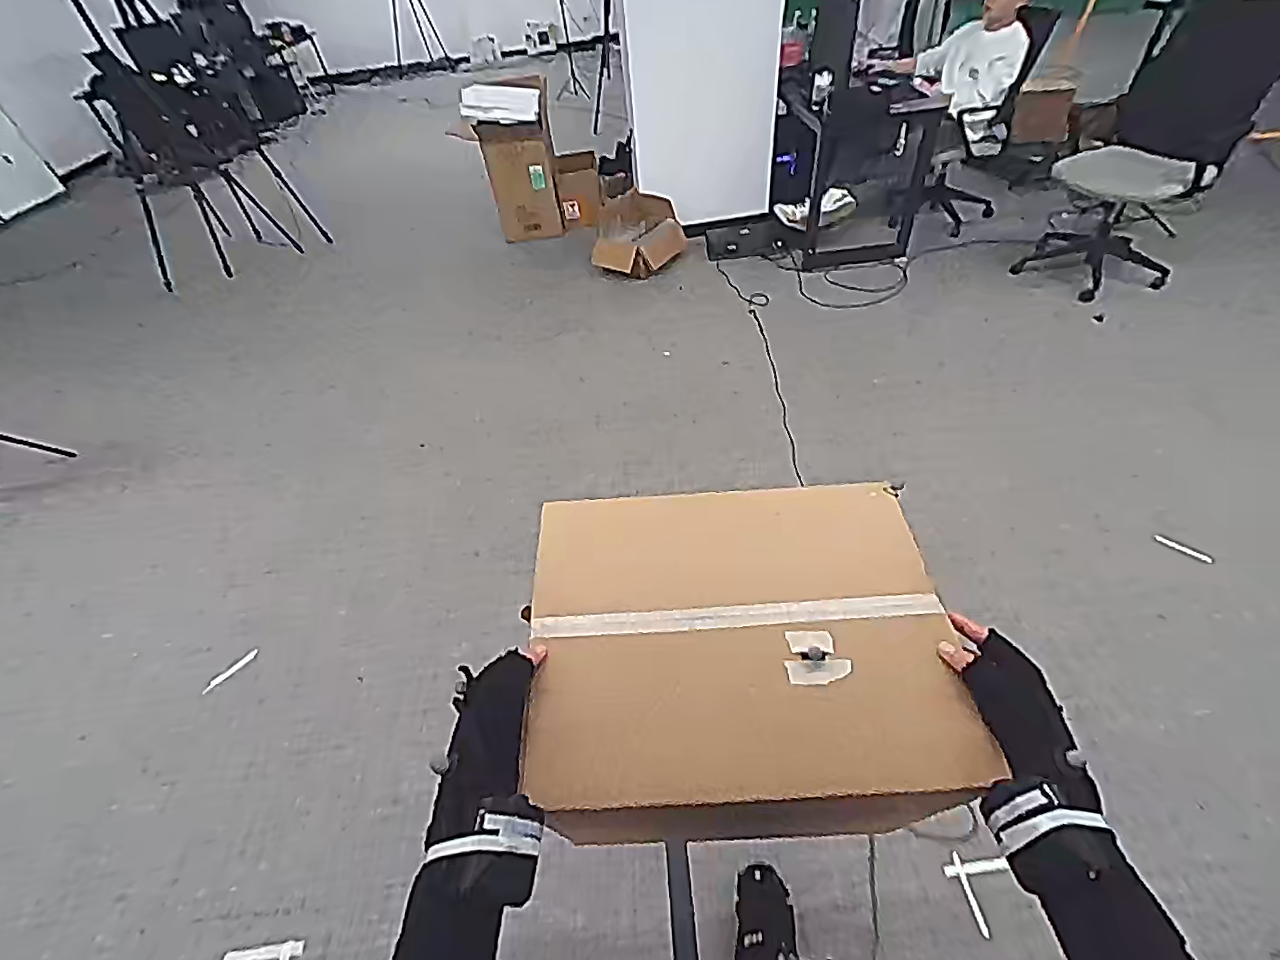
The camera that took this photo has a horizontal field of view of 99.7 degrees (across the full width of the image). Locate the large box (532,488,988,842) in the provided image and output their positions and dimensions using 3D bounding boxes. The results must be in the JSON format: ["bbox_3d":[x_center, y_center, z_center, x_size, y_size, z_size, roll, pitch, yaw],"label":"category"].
[{"bbox_3d":[0.100,0.236,0.669,0.408,0.320,0.320,-4,52,0],"label":"large box"}]
